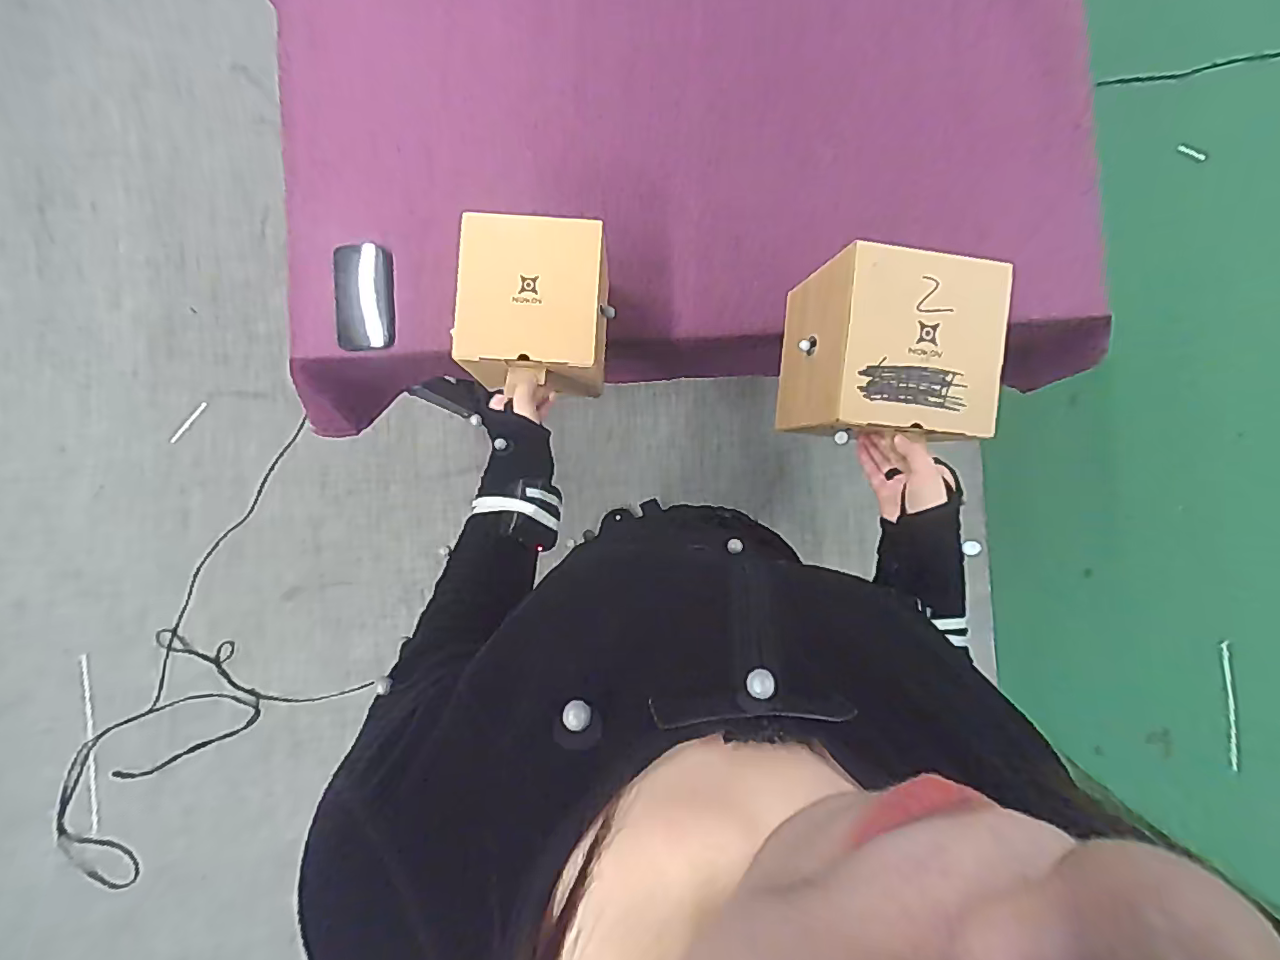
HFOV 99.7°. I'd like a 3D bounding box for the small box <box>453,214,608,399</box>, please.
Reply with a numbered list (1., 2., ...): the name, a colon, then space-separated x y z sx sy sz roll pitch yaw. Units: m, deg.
1. small box: -0.130 -0.213 0.704 0.168 0.176 0.179 4 87 -2
